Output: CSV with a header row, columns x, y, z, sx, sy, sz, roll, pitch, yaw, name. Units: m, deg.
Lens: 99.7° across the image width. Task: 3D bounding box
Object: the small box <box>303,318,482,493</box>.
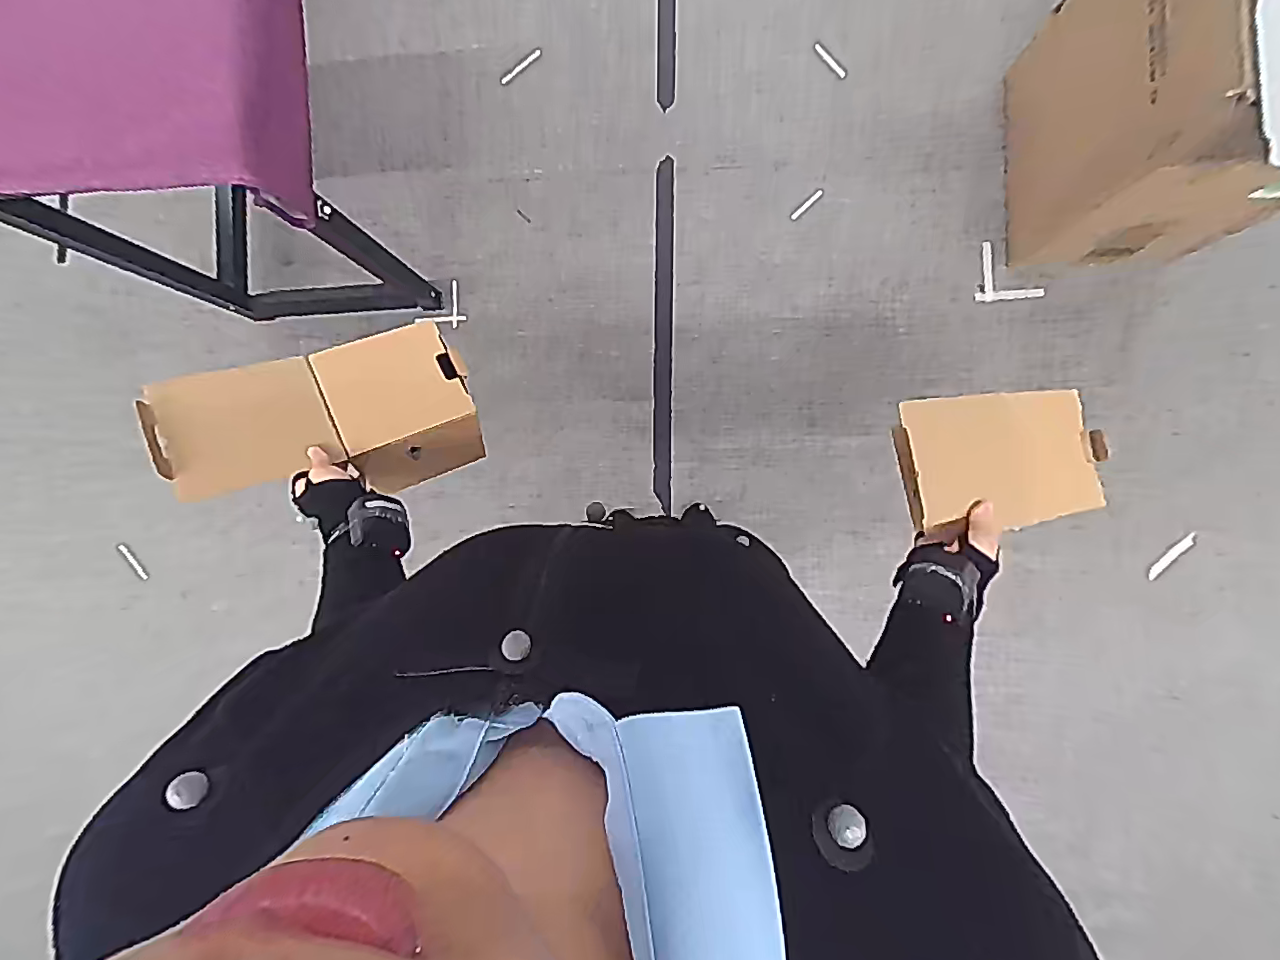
x,y,z,sx,sy,sz,roll,pitch,yaw,name
-0.349,-0.101,0.794,0.179,0.176,0.168,-24,78,-19,small box
